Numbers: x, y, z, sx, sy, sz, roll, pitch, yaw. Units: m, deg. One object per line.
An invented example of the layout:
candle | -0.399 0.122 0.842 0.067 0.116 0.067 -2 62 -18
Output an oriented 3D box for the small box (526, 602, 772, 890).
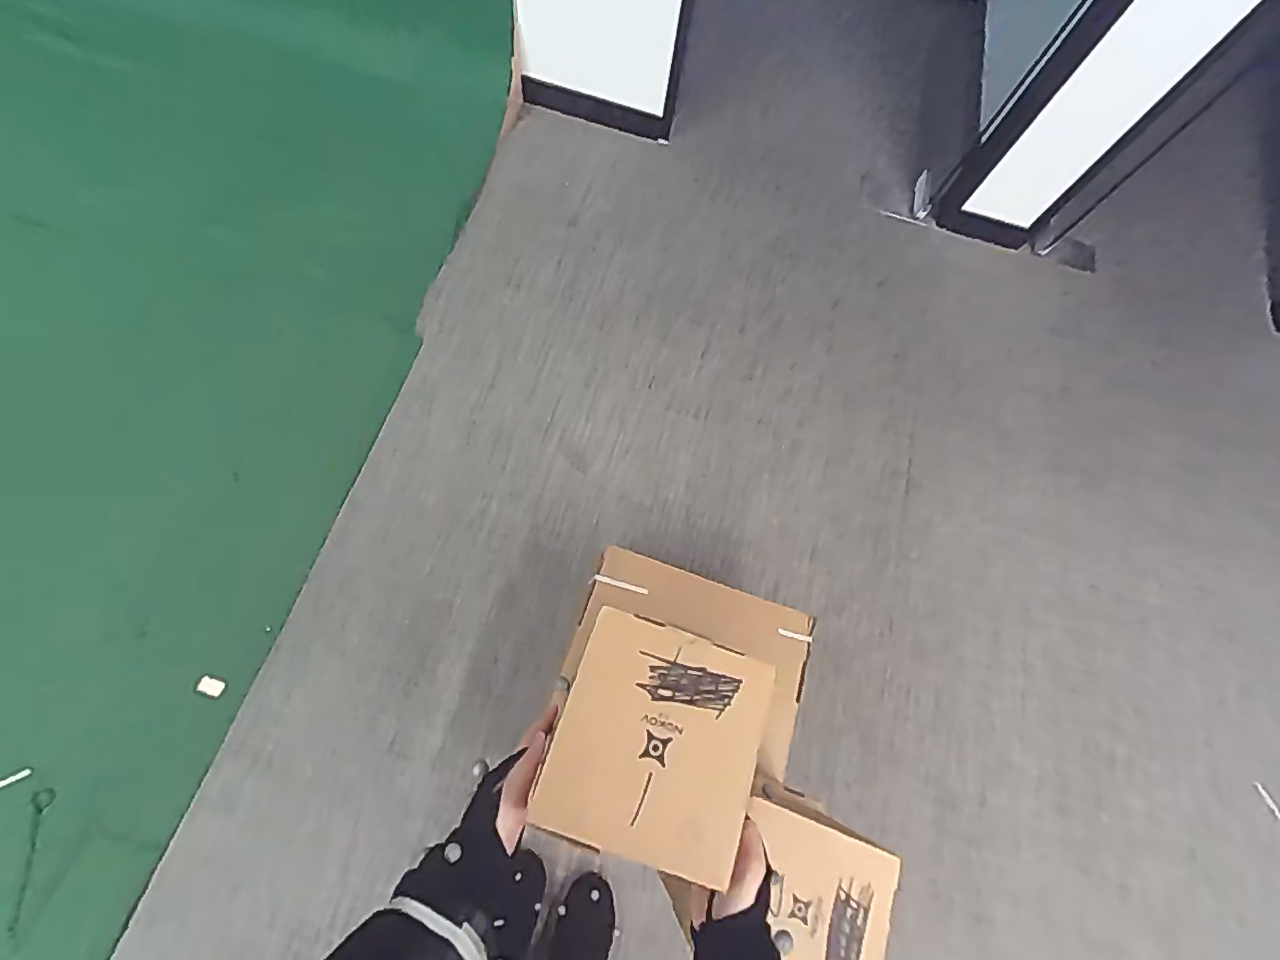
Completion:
small box | 0.004 0.237 0.516 0.168 0.176 0.179 20 68 1

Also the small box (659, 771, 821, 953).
small box | 0.133 0.513 0.776 0.168 0.176 0.179 22 66 1
